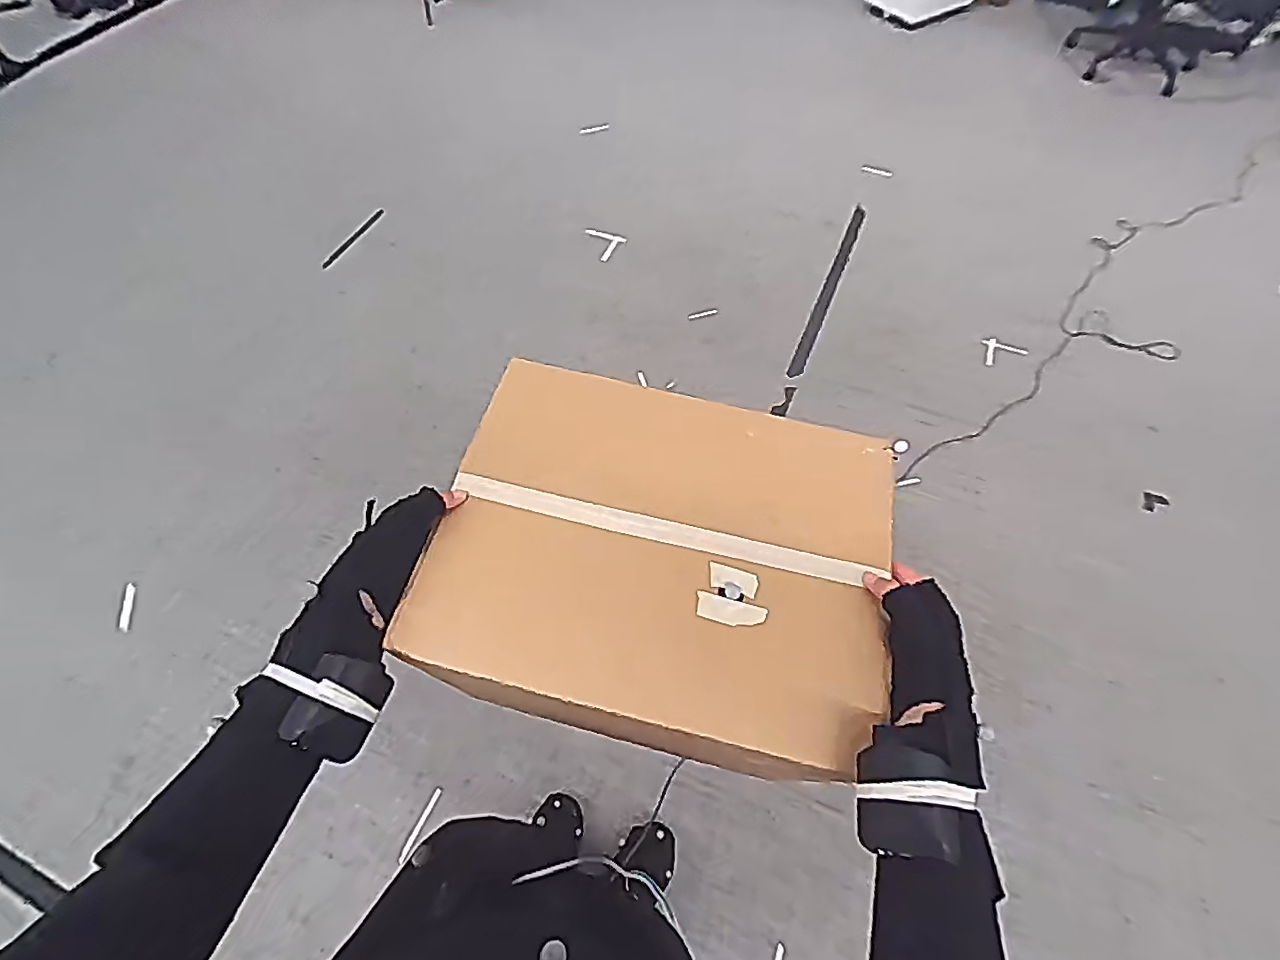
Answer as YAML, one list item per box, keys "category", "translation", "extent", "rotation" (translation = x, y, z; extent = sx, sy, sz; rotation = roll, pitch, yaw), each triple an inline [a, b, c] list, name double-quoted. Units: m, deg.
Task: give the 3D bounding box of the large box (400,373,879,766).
- category: "large box"
  translation: [0.014, 0.122, 0.636]
  extent: [0.408, 0.320, 0.320]
  rotation: [13, 63, 3]
